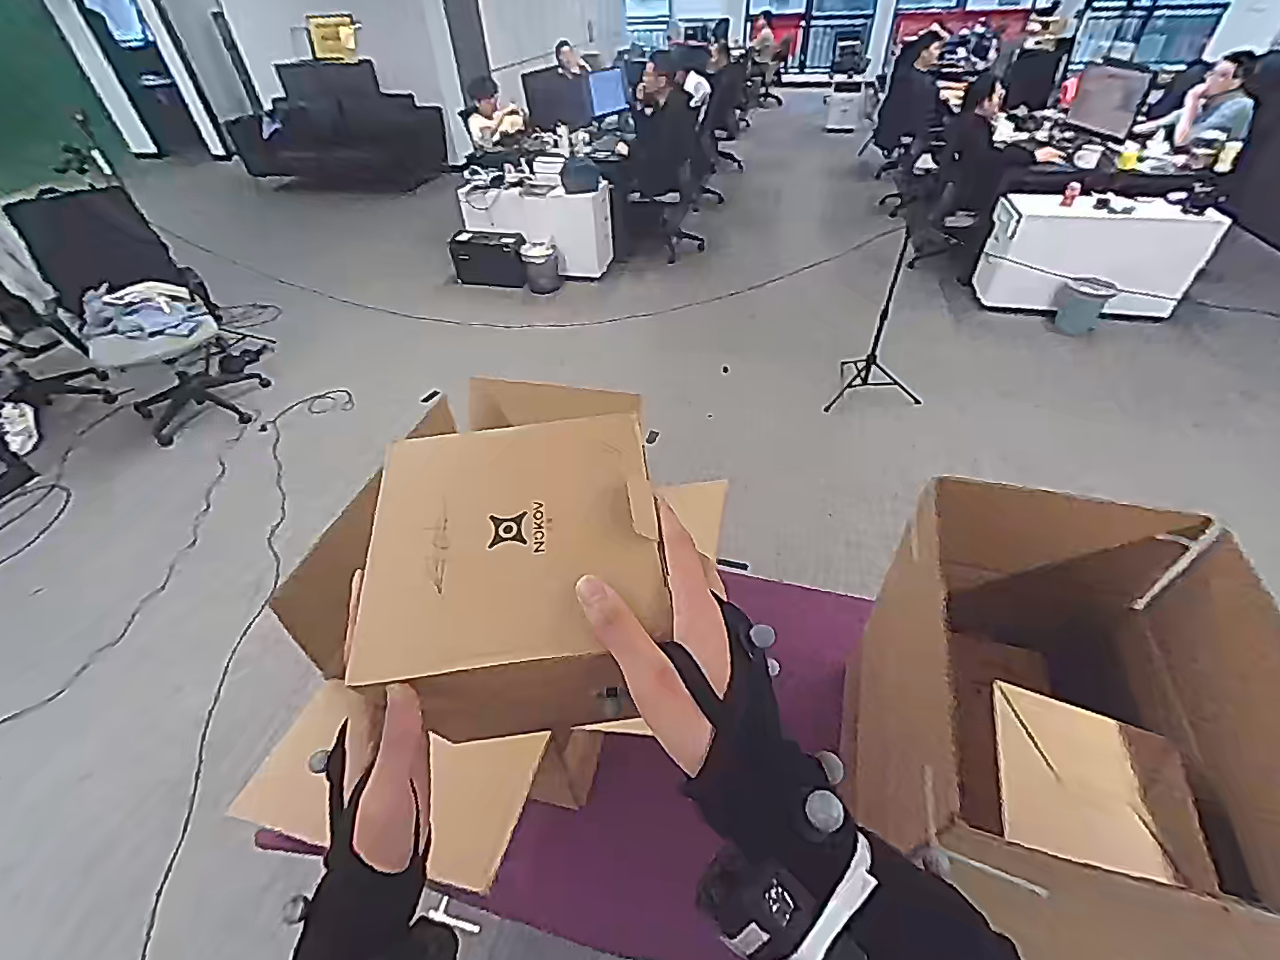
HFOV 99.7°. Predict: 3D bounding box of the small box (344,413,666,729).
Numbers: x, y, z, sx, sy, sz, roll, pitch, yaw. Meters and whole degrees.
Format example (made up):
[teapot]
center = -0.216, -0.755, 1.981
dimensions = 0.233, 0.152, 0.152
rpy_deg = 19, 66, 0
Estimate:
[small box]
center = -0.076, 0.074, 0.401
dimensions = 0.179, 0.176, 0.168
rpy_deg = -7, 54, -1
